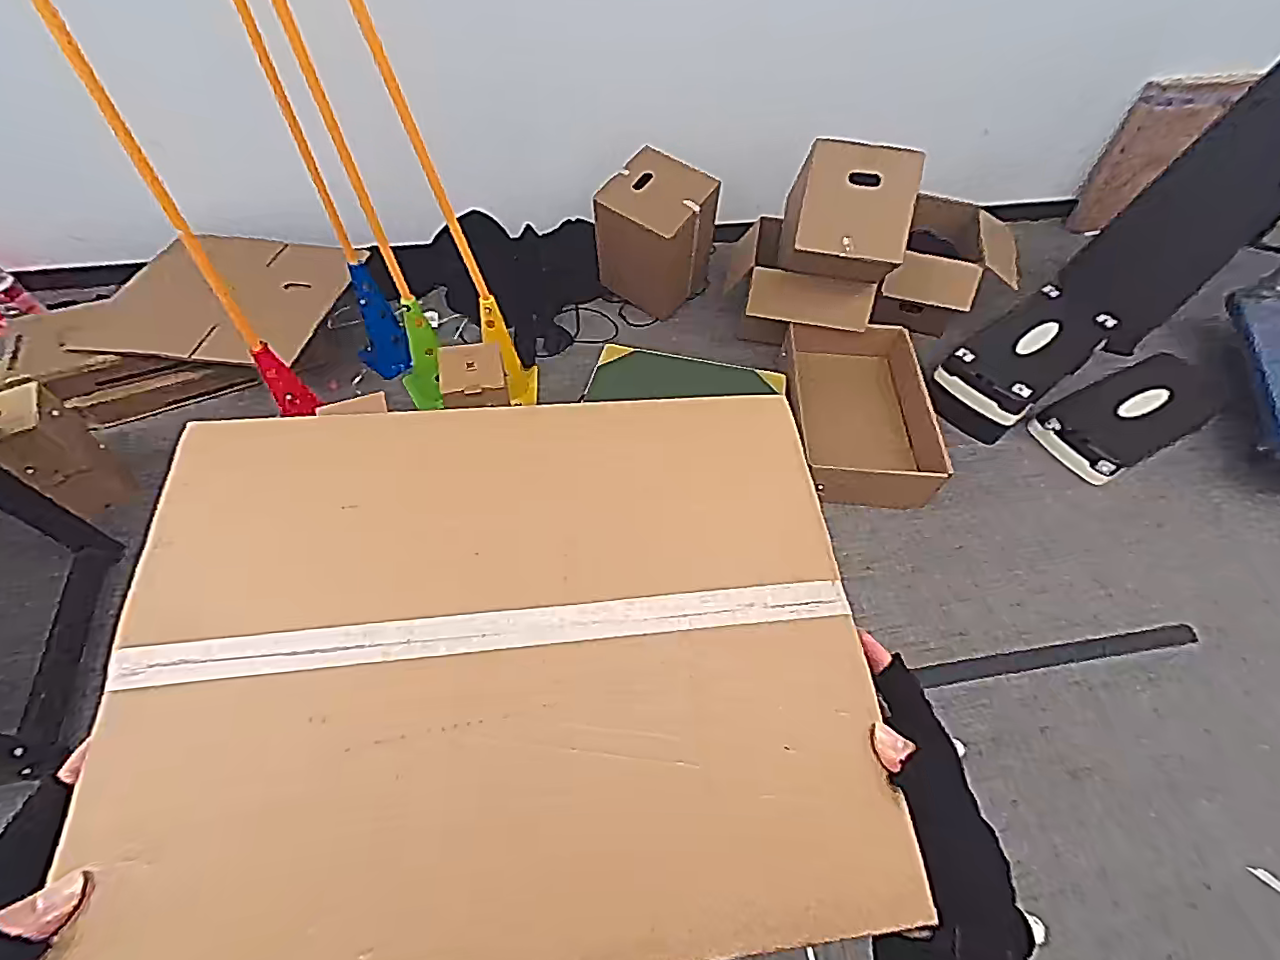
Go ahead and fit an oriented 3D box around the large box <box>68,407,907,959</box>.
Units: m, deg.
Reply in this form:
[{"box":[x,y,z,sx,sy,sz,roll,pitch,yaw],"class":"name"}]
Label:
[{"box":[-0.086,0.163,0.452,0.408,0.320,0.320,-4,64,-7],"class":"large box"}]
